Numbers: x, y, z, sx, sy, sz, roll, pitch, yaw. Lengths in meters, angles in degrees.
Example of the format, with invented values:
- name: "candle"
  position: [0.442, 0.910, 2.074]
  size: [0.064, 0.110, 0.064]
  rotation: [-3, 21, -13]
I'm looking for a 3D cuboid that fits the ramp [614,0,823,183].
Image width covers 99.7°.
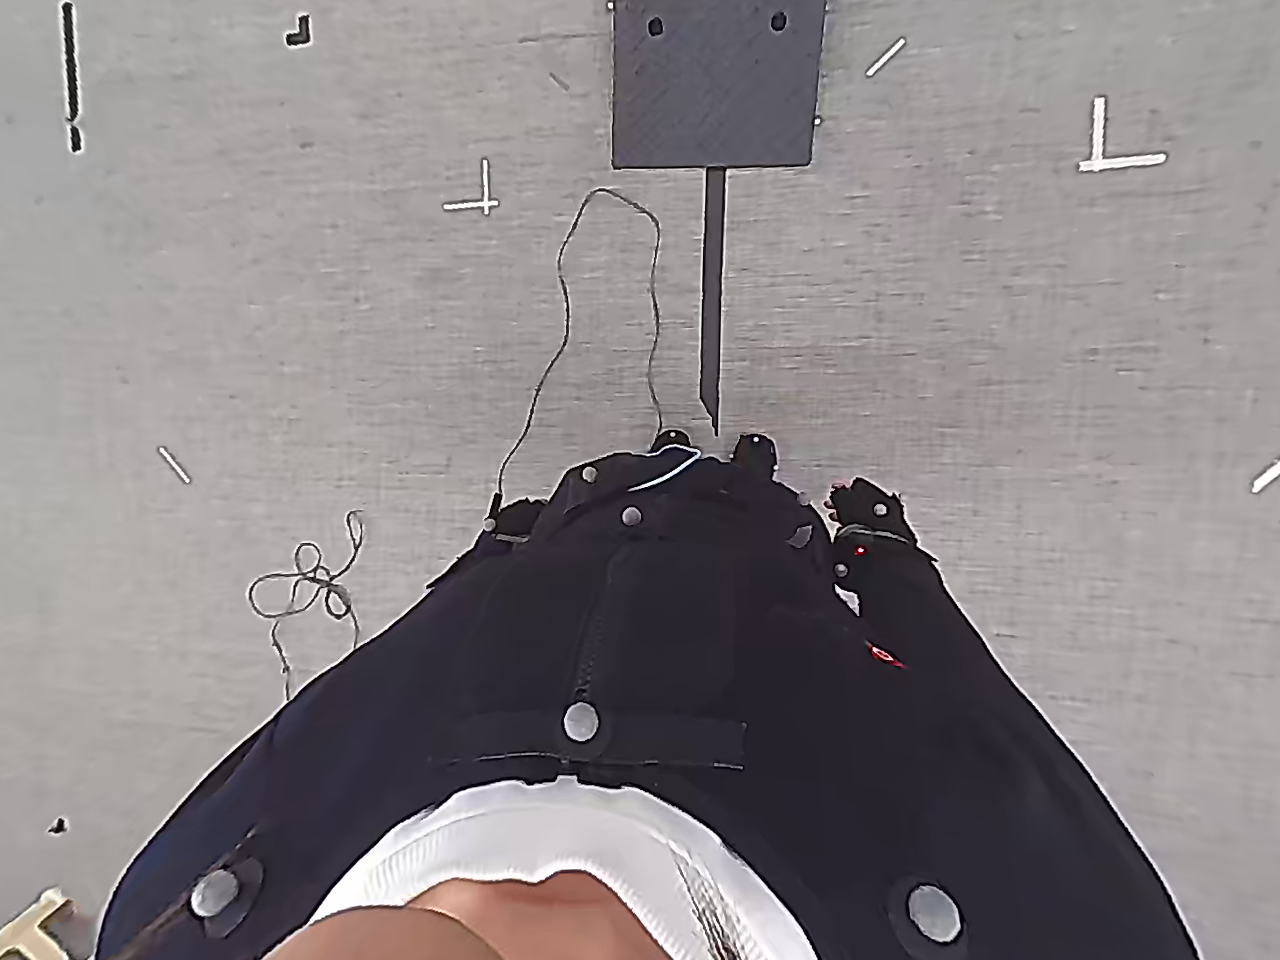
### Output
- name: "ramp"
  position: [0.181, -1.247, 1.244]
  size: [0.509, 0.206, 0.991]
  rotation: [0, 95, 7]
